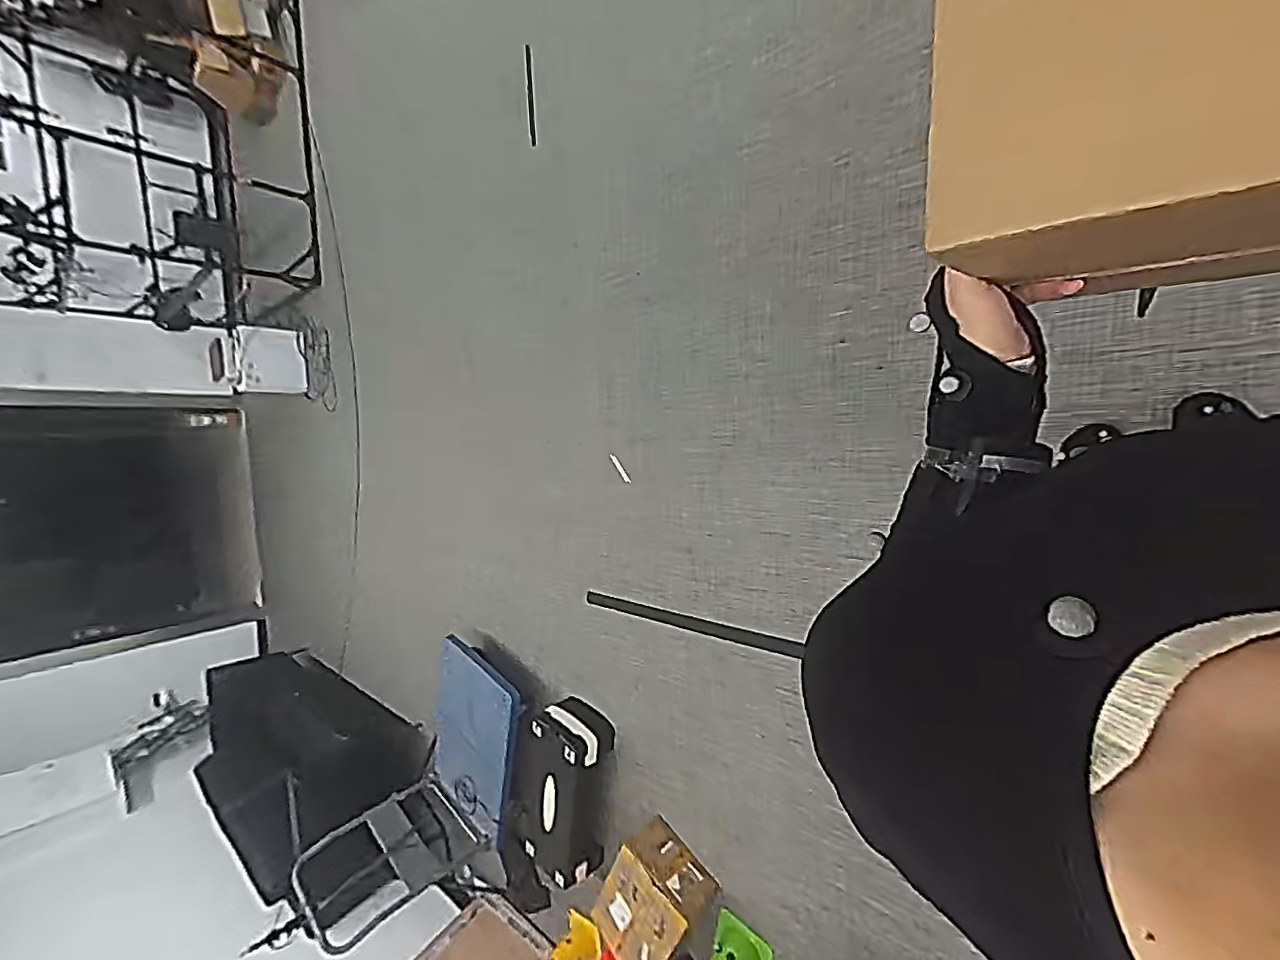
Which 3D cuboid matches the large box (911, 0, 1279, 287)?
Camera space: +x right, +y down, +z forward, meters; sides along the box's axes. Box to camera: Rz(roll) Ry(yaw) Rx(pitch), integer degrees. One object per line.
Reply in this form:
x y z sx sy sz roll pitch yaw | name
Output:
0.385 -0.289 0.230 0.408 0.320 0.320 7 105 47 | large box
